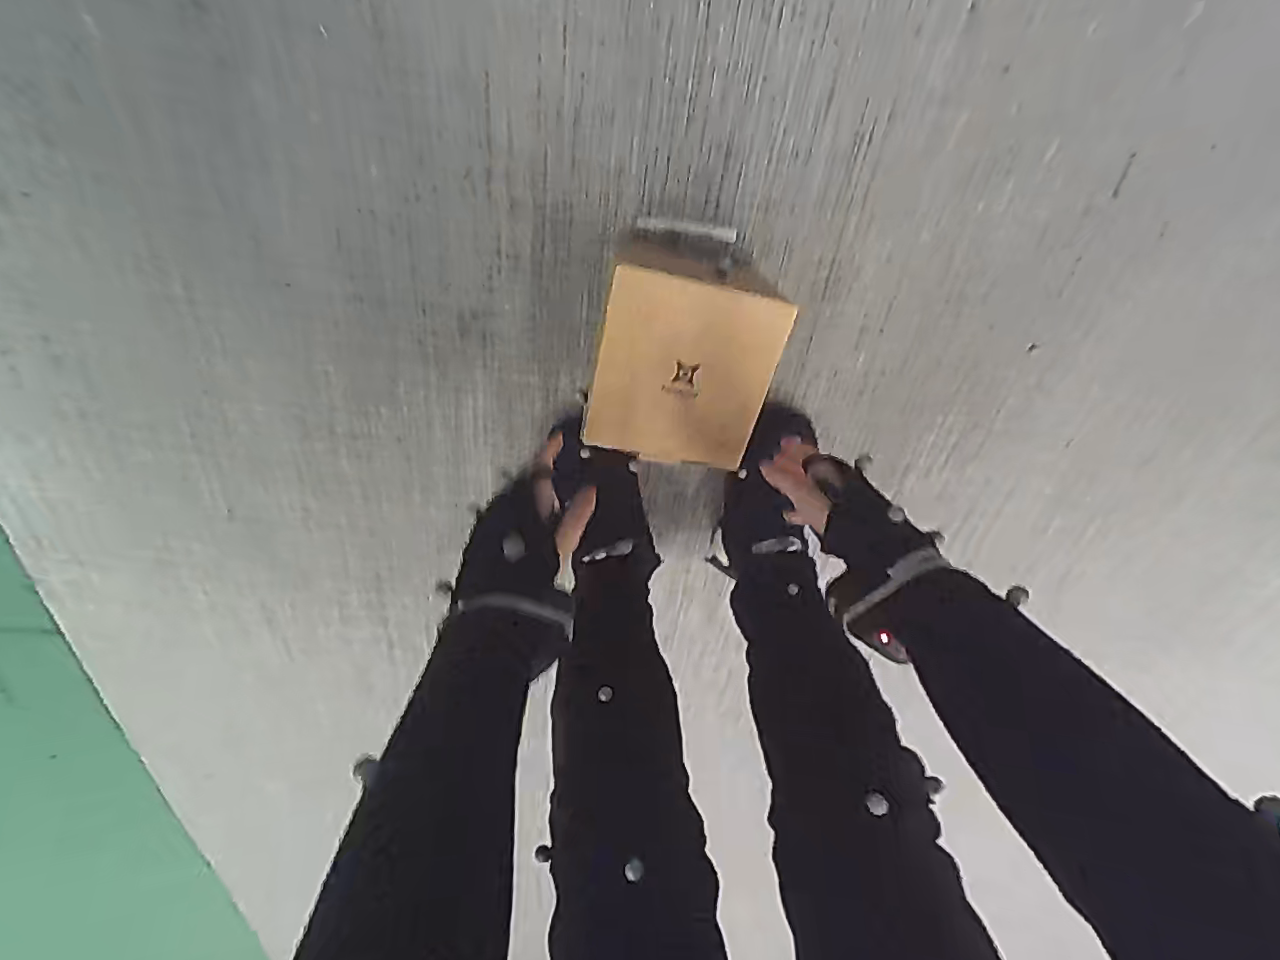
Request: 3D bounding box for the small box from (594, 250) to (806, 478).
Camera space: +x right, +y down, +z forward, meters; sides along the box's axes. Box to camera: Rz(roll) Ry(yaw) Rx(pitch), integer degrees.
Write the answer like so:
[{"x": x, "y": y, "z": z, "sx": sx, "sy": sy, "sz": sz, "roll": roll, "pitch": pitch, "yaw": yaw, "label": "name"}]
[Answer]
[{"x": 0.048, "y": -0.131, "z": 0.580, "sx": 0.168, "sy": 0.176, "sz": 0.179, "roll": 11, "pitch": 121, "yaw": -9, "label": "small box"}]
